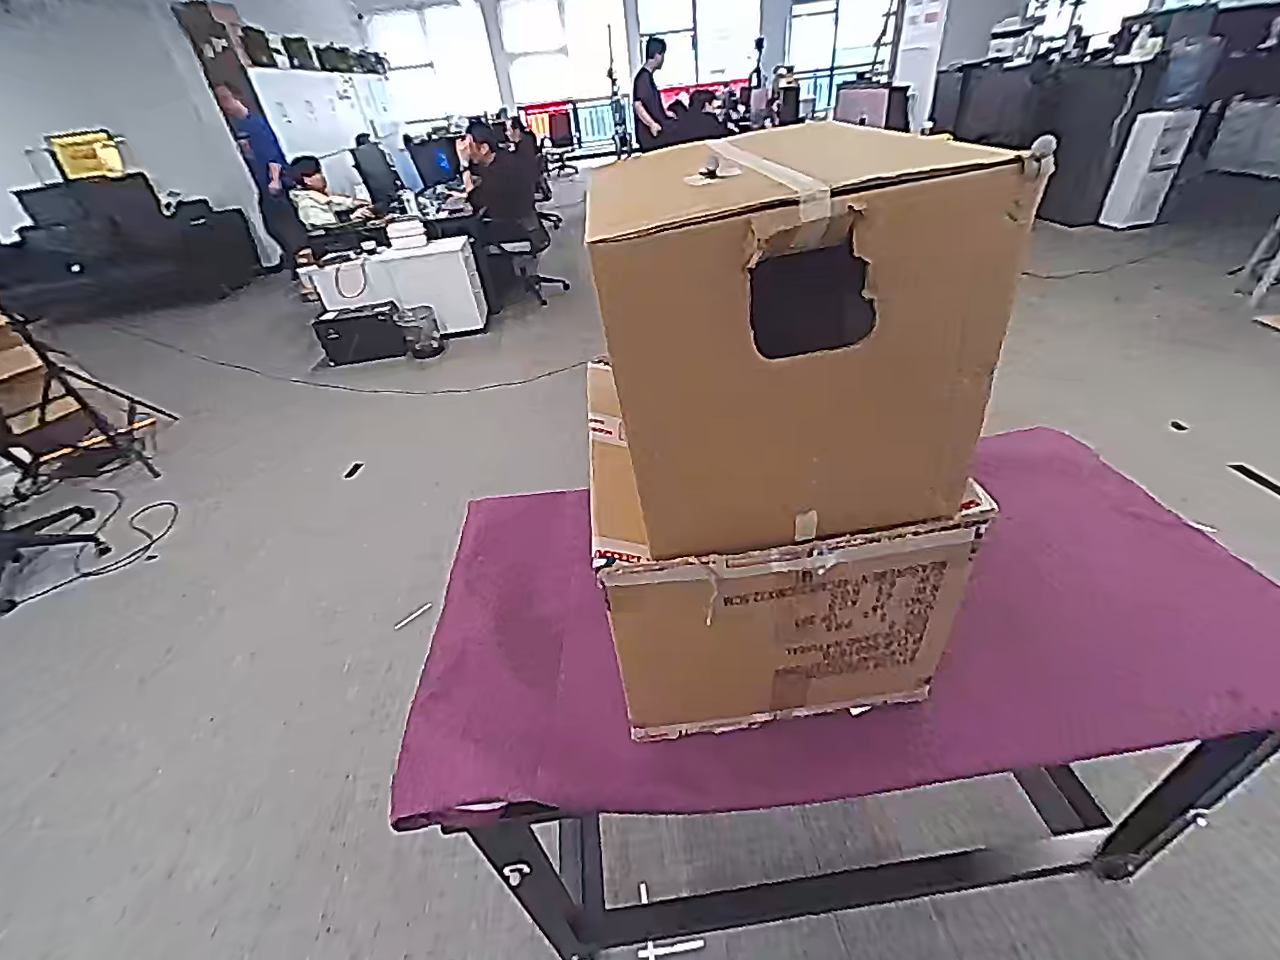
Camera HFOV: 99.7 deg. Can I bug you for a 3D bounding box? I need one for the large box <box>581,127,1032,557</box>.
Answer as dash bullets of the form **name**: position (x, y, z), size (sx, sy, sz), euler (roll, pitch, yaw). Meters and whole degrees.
- **large box**: position (0.120, -0.179, 0.613), size (0.320, 0.320, 0.408), euler (-11, 37, 2)
